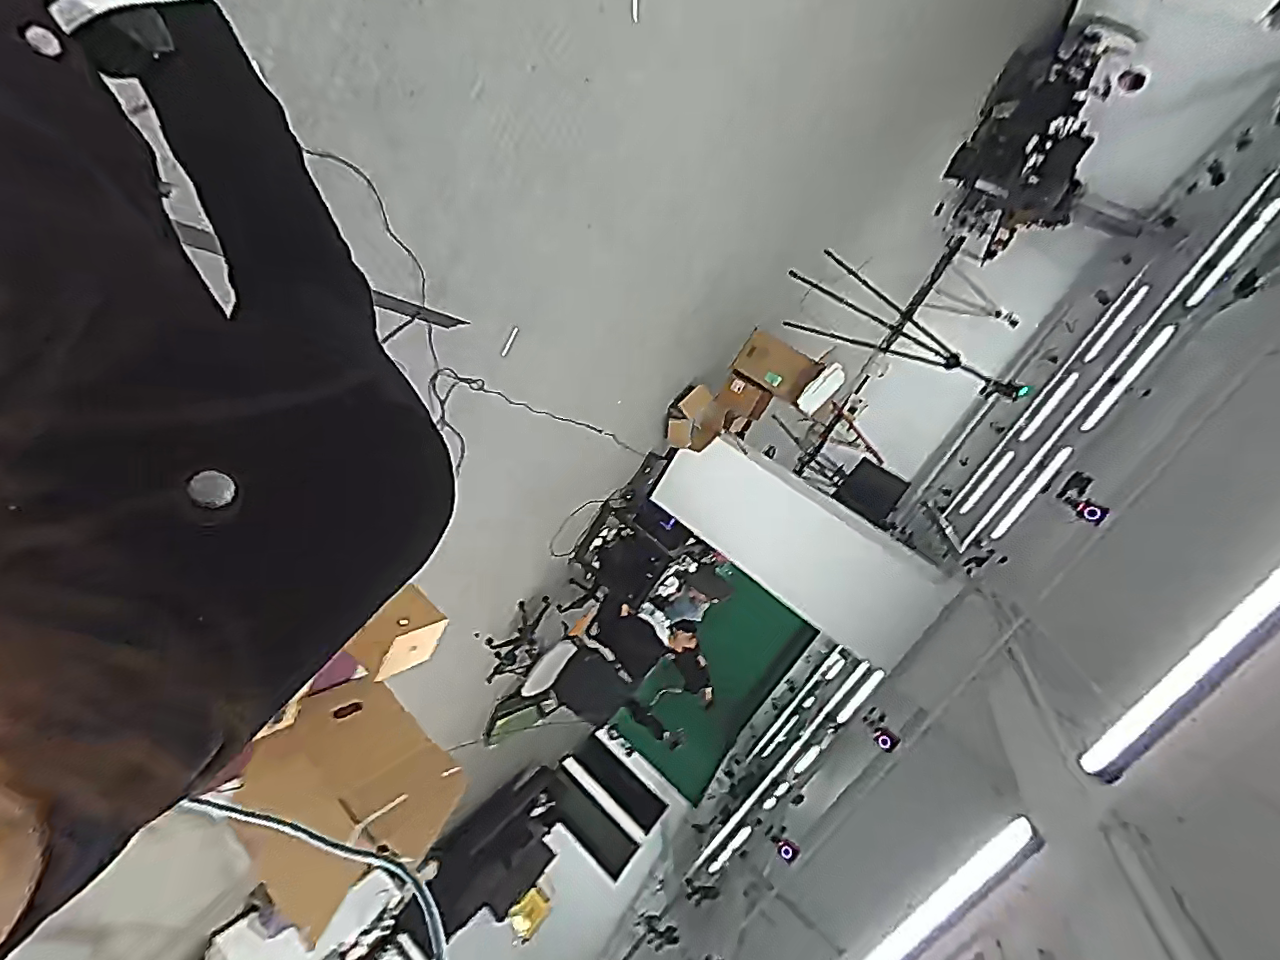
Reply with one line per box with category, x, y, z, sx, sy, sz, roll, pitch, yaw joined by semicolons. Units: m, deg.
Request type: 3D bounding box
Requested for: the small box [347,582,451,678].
small box;-0.672;0.408;1.507;0.168;0.176;0.179;-60;158;18
